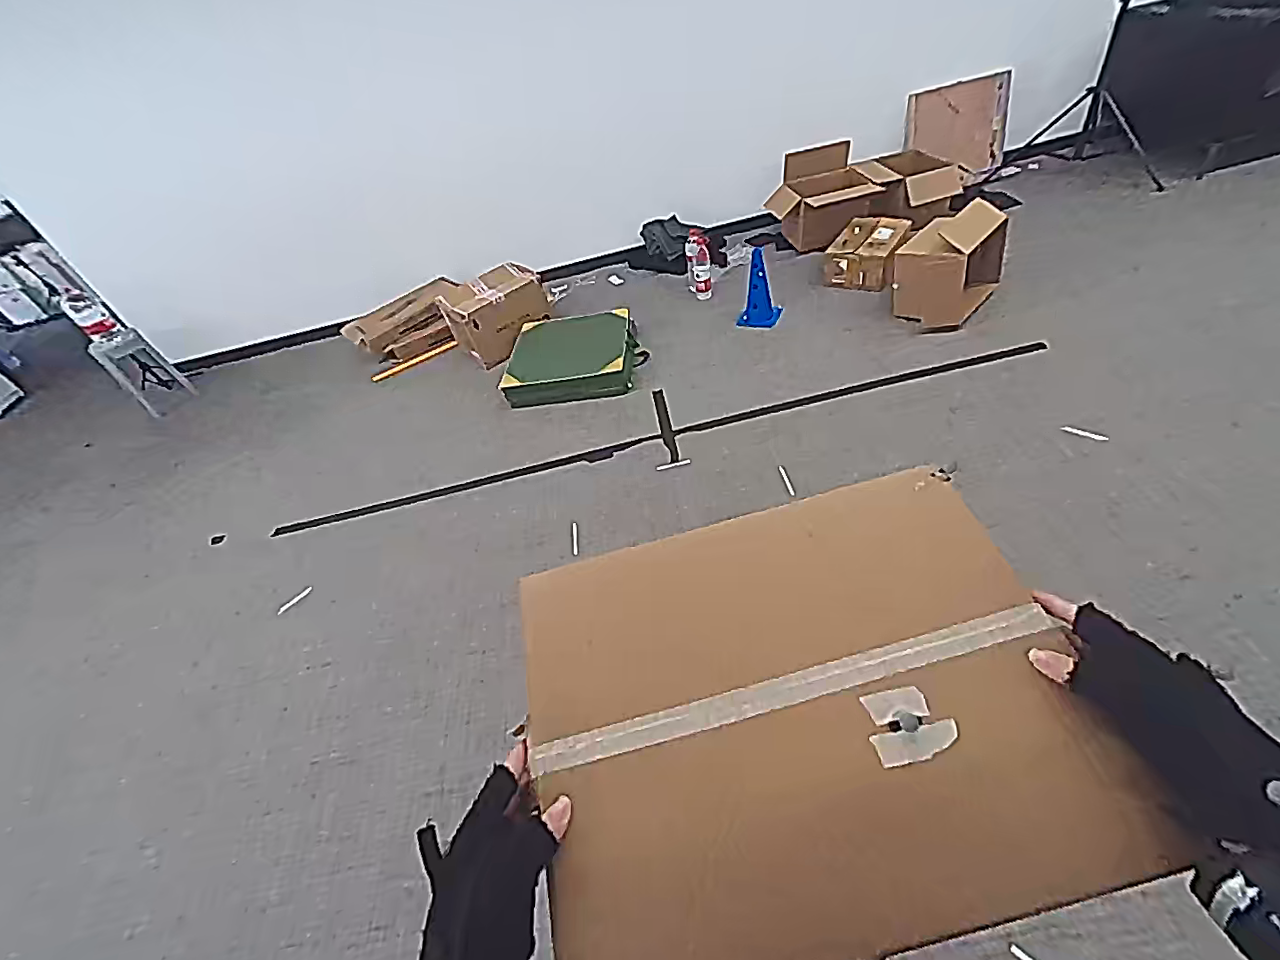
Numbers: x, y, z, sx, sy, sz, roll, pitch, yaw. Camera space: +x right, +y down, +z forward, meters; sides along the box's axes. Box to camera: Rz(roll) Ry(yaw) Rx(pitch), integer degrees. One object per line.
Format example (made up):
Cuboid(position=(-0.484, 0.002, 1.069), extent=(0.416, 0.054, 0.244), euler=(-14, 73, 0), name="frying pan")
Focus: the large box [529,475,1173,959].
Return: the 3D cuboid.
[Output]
Cuboid(position=(0.140, 0.253, 0.547), extent=(0.408, 0.320, 0.320), euler=(-16, 54, 0), name="large box")
